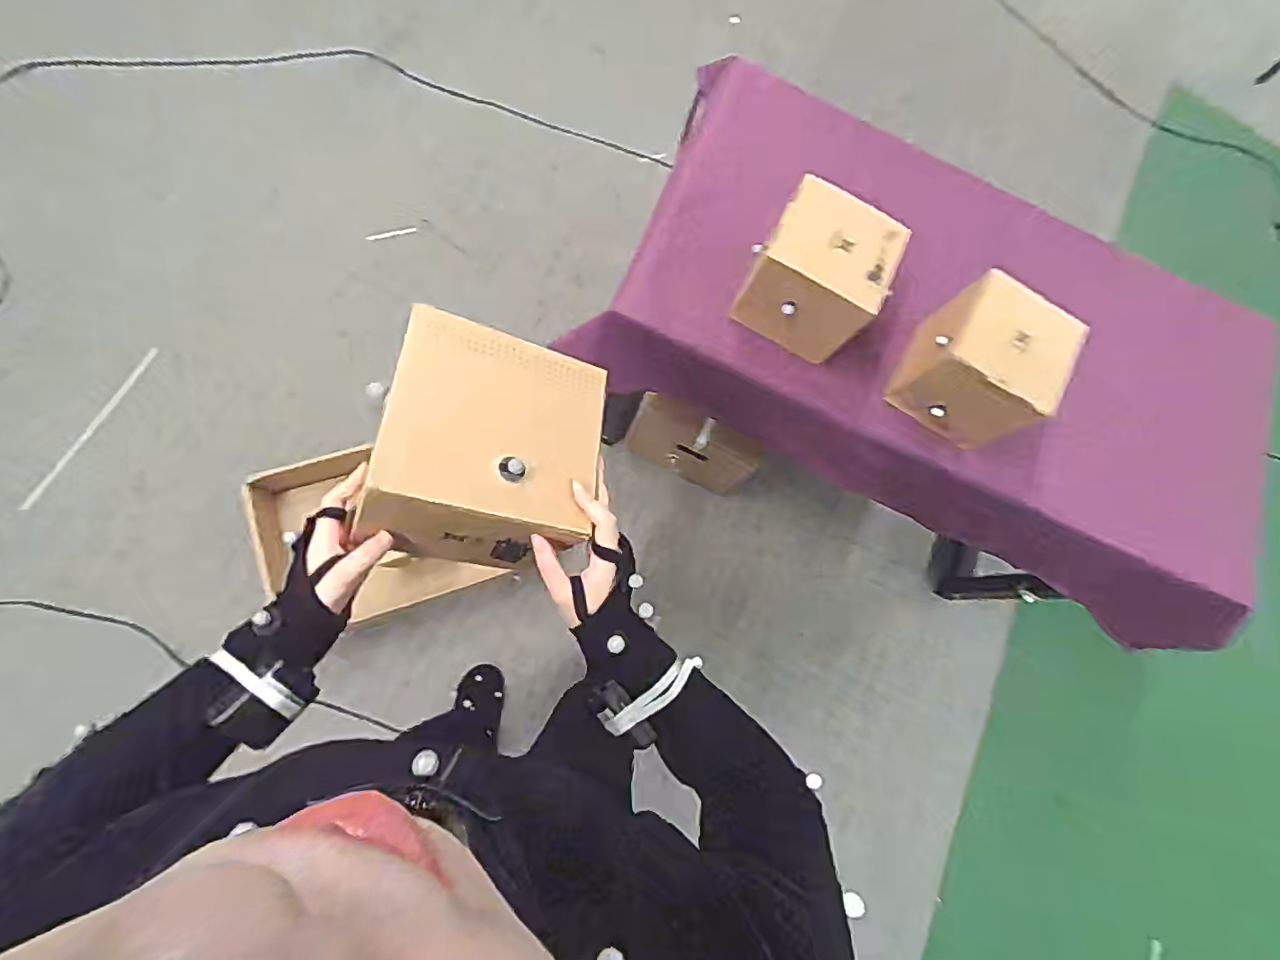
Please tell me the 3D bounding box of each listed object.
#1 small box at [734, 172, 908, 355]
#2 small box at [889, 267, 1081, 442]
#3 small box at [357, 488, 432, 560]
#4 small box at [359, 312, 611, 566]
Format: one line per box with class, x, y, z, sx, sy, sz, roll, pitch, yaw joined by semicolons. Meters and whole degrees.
small box;0.270;-0.323;0.844;0.179;0.176;0.168;28;75;-2
small box;0.535;-0.188;0.859;0.168;0.176;0.179;33;76;-1
small box;-0.557;0.093;1.324;0.179;0.176;0.168;-18;83;-12
small box;-0.141;-0.027;0.507;0.179;0.168;0.176;17;65;-26
